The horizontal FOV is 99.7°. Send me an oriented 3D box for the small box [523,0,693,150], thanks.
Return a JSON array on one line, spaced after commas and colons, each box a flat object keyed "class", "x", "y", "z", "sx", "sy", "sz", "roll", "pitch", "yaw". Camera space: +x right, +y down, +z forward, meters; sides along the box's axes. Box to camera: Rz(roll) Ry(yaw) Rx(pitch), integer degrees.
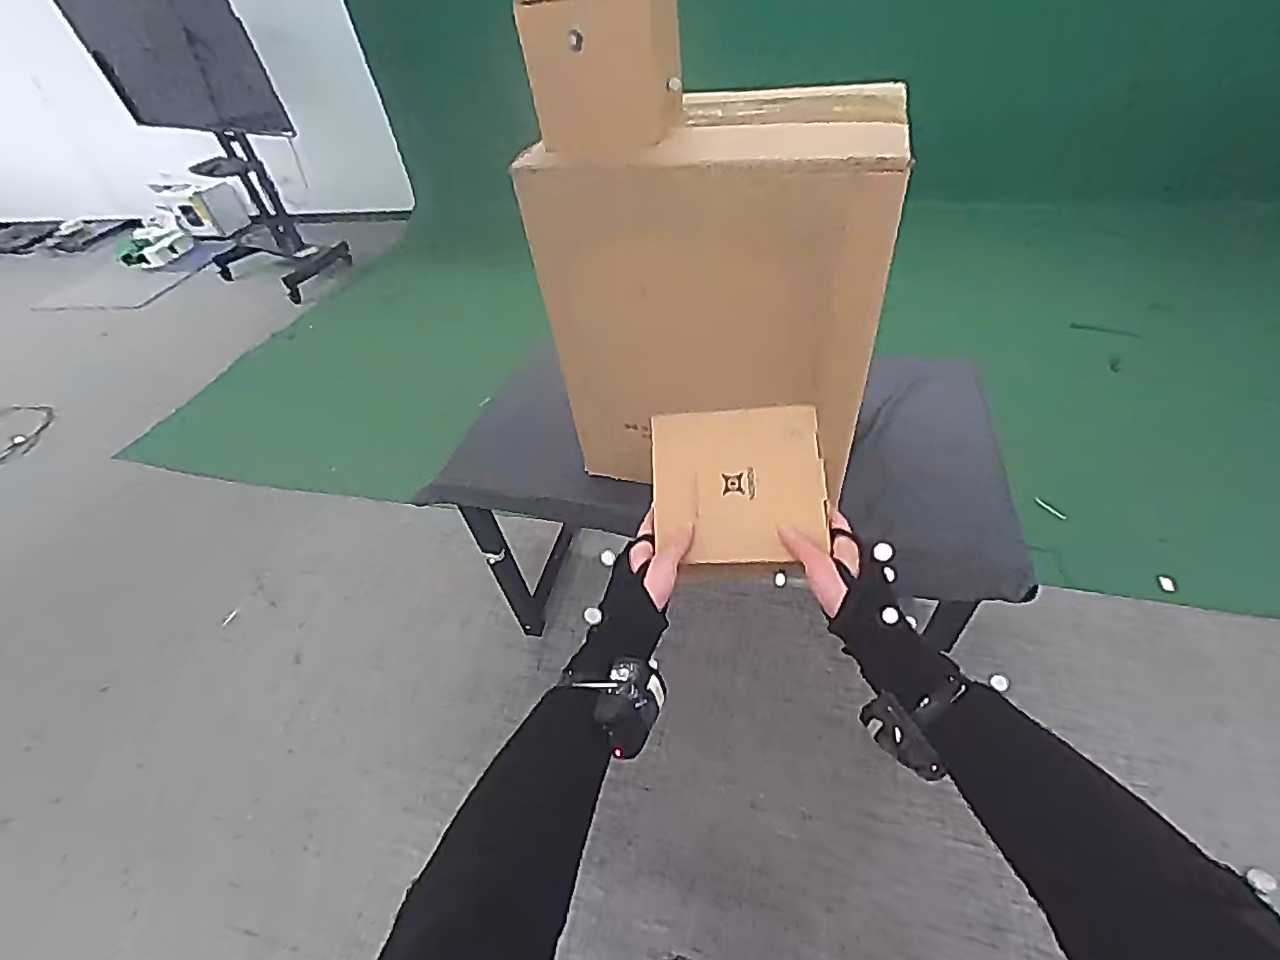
[{"class": "small box", "x": -0.033, "y": -0.589, "z": 0.770, "sx": 0.179, "sy": 0.176, "sz": 0.168, "roll": 9, "pitch": 52, "yaw": 19}]
